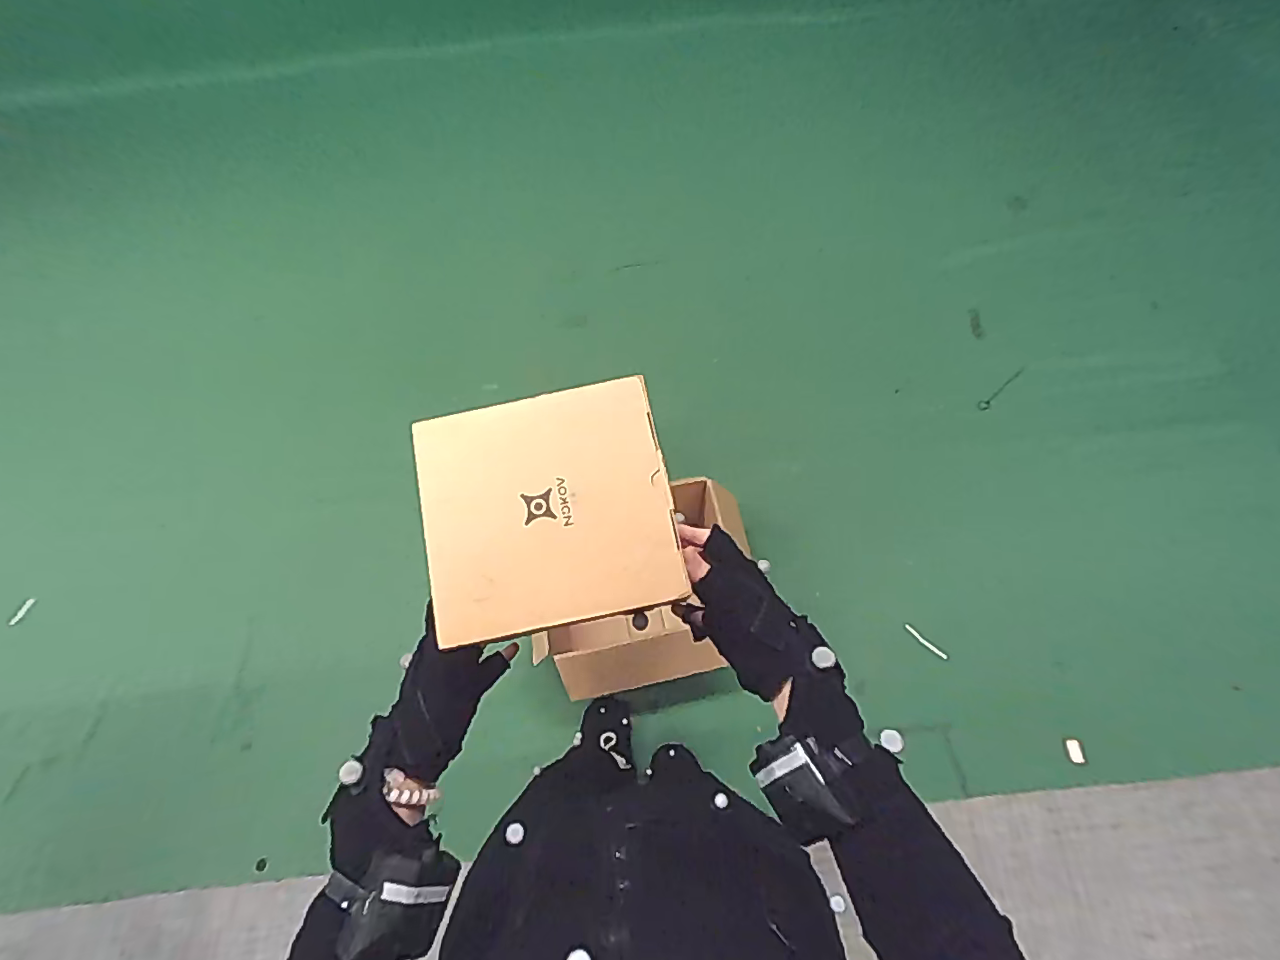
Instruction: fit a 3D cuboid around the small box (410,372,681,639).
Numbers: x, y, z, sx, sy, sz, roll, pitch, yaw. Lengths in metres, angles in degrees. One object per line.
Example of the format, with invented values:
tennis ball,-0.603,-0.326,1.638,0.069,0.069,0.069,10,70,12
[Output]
small box,-0.066,0.034,0.456,0.179,0.176,0.168,-13,76,0
